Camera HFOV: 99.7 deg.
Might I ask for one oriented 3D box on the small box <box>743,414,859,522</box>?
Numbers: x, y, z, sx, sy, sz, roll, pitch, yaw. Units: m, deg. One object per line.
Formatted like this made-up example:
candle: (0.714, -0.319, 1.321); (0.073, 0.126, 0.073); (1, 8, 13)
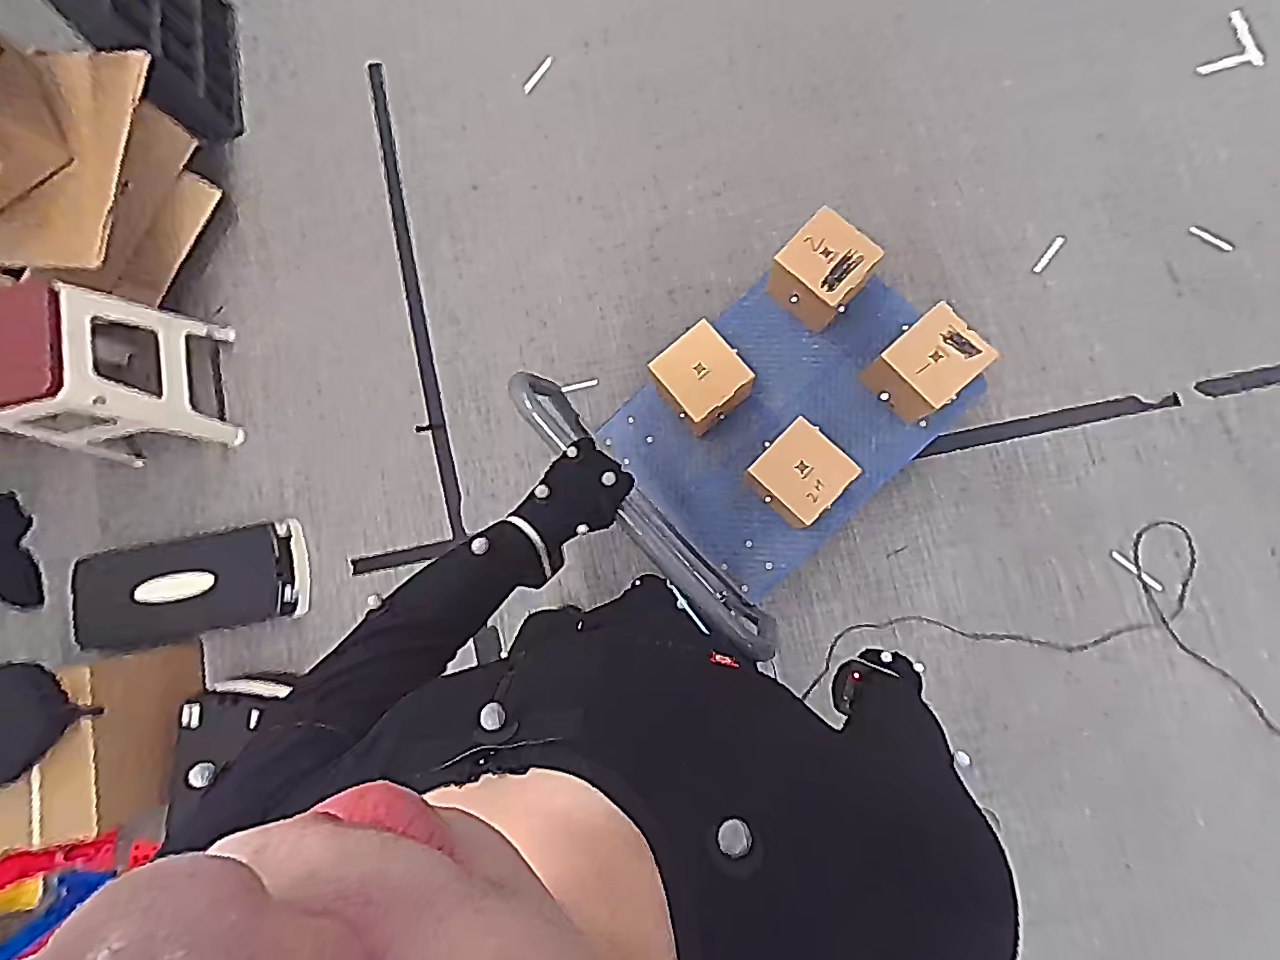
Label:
small box: (0.351, -0.016, 1.220); (0.179, 0.176, 0.168); (45, 90, 9)

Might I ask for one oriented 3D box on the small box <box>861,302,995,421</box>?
small box: (0.633, -0.257, 1.214); (0.179, 0.176, 0.168); (-42, 82, 2)

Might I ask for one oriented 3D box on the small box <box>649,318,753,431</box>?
small box: (0.139, -0.237, 1.267); (0.168, 0.176, 0.179); (-40, 83, 1)
